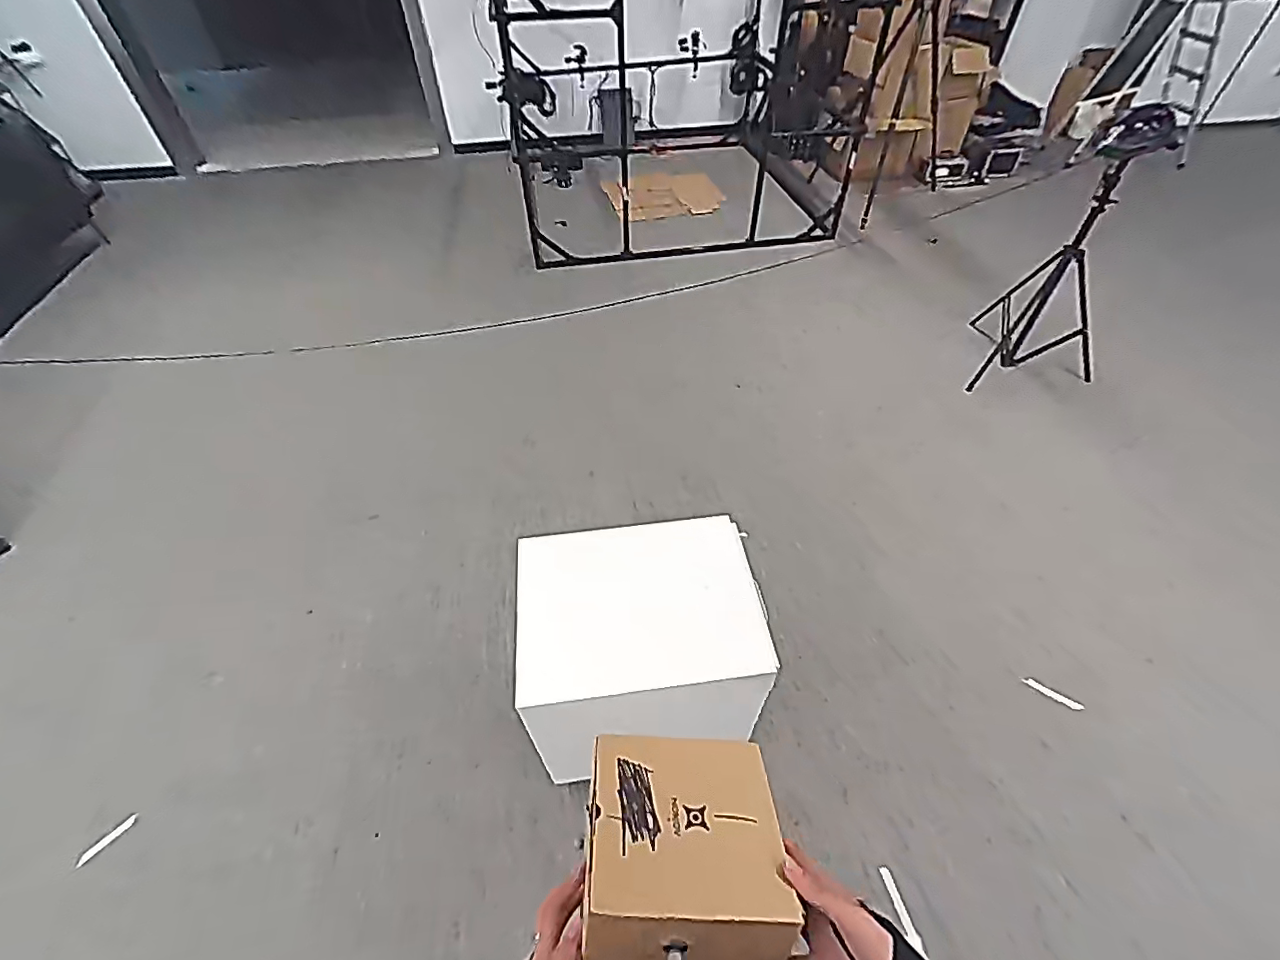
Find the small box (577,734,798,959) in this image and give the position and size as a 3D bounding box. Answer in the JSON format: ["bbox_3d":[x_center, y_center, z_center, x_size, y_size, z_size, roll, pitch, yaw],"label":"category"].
[{"bbox_3d":[0.033,0.381,0.534,0.179,0.176,0.168,6,26,-5],"label":"small box"}]
